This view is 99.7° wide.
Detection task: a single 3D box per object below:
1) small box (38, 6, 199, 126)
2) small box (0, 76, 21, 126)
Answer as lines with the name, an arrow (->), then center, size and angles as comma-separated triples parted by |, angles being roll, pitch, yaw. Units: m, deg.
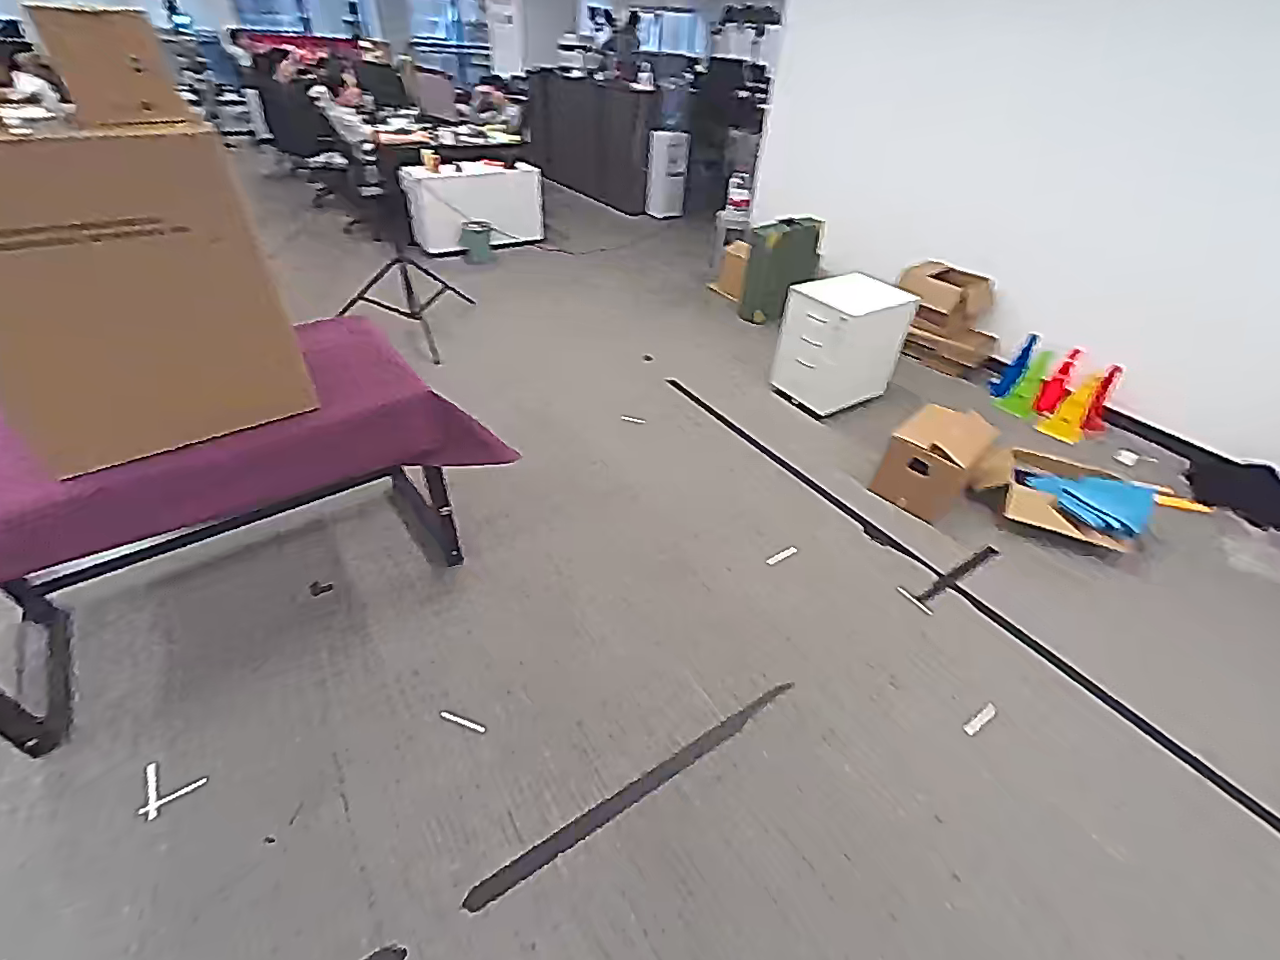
small box -> -0.975, -0.778, 1.022 | 0.168, 0.176, 0.179 | -26, 48, -32
small box -> -1.188, -0.682, 0.881 | 0.179, 0.176, 0.168 | -23, 47, -30
